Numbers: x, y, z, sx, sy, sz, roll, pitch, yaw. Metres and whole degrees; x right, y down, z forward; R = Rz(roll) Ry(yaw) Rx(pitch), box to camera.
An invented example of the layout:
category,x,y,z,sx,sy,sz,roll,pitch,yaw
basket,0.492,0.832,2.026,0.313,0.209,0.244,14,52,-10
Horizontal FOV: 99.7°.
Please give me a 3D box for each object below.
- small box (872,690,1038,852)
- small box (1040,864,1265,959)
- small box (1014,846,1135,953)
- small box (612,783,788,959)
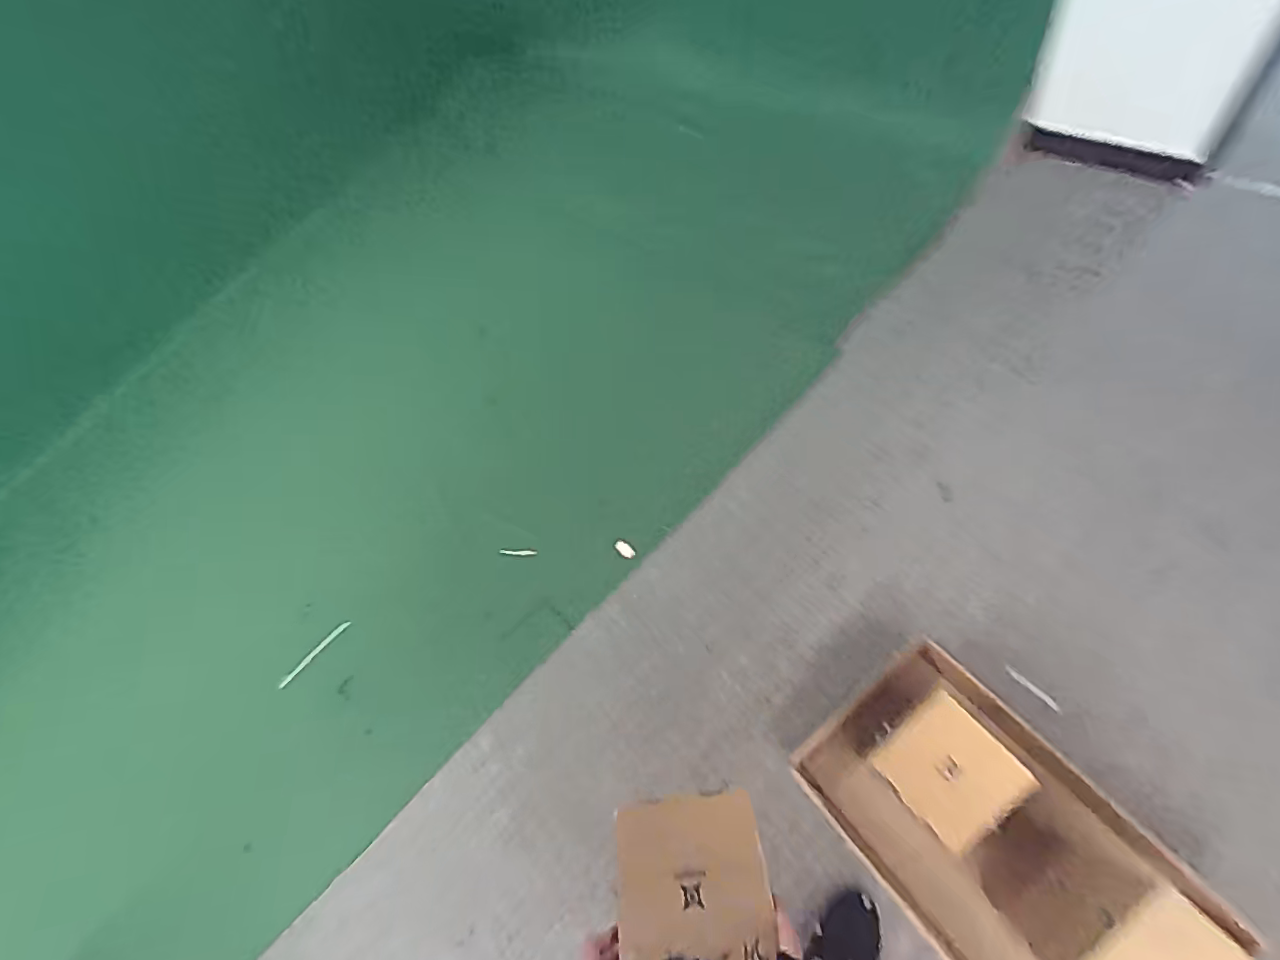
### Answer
category,x,y,z,sx,sy,sz,roll,pitch,yaw
small box,0.521,0.490,0.929,0.179,0.176,0.168,-41,59,-3
small box,0.624,0.598,0.641,0.179,0.176,0.168,-42,56,-3
small box,0.681,0.668,0.779,0.179,0.176,0.168,-40,57,-2
small box,0.061,0.482,0.626,0.168,0.176,0.179,-8,44,-1
